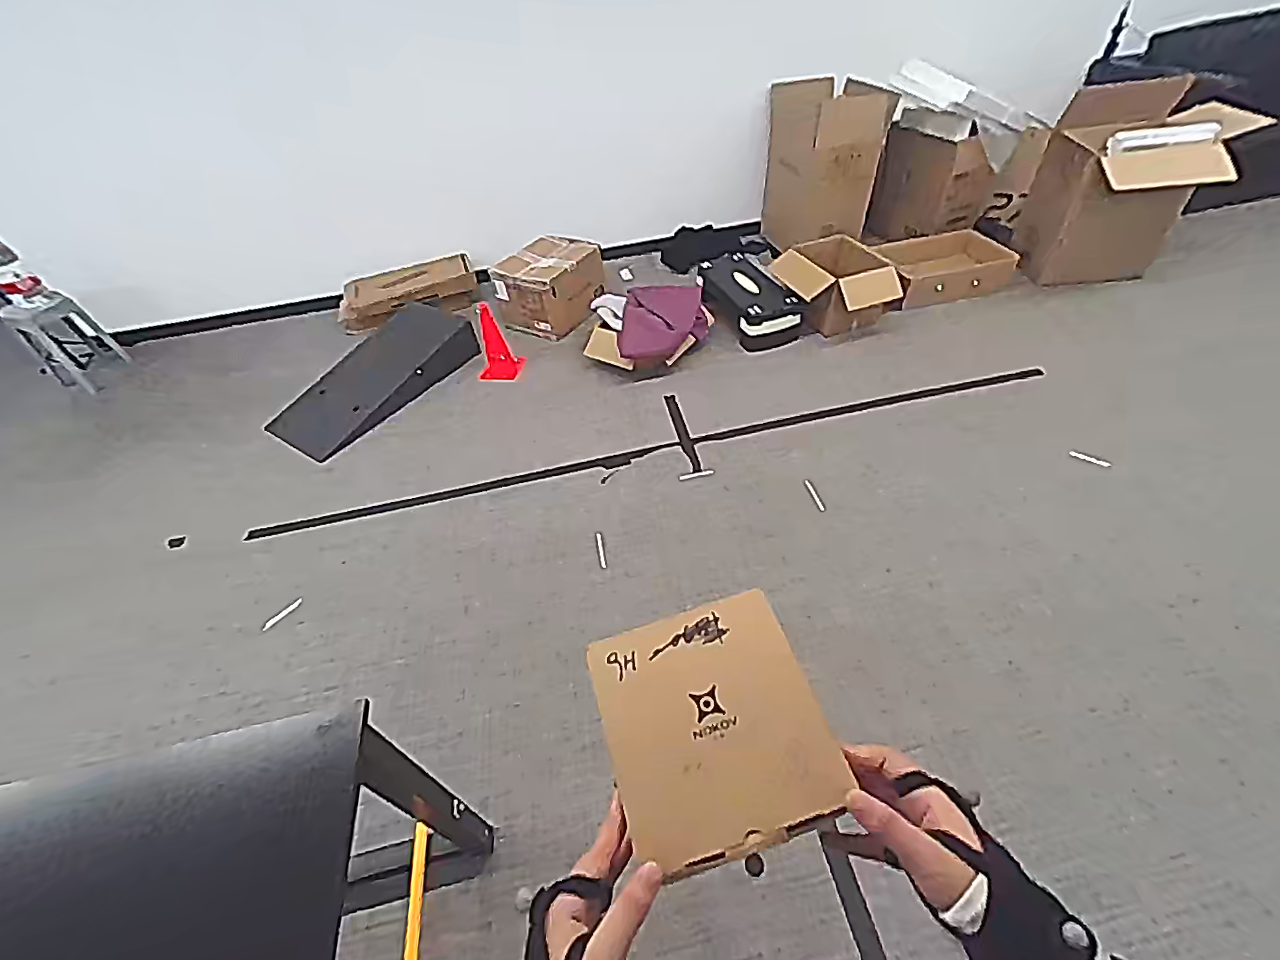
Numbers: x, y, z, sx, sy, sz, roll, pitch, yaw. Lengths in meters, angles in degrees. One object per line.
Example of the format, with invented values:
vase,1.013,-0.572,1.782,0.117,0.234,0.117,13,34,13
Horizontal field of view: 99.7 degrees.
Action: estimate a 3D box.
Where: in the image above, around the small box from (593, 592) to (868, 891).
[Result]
small box,0.071,0.232,0.484,0.168,0.176,0.179,-18,55,-4
